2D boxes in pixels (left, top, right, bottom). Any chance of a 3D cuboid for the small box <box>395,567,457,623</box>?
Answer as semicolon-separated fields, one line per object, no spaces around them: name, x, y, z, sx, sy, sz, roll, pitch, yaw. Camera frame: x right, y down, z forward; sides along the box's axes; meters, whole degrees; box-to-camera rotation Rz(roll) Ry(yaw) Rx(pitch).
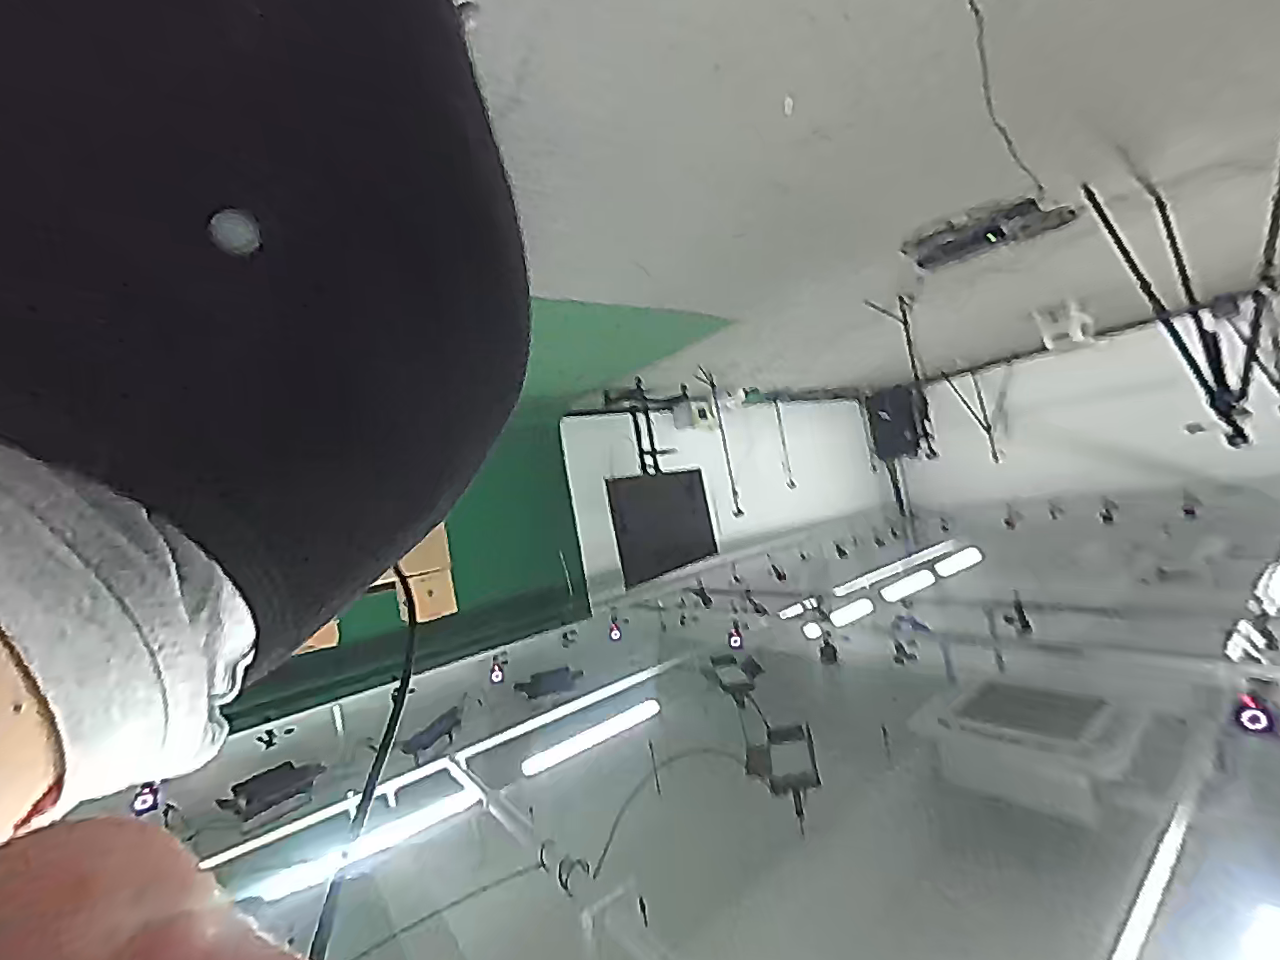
small box;-0.817;0.429;2.052;0.168;0.176;0.179;-11;179;-36

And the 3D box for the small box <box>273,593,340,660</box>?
small box;-1.118;0.483;1.818;0.168;0.176;0.179;-8;178;-27
